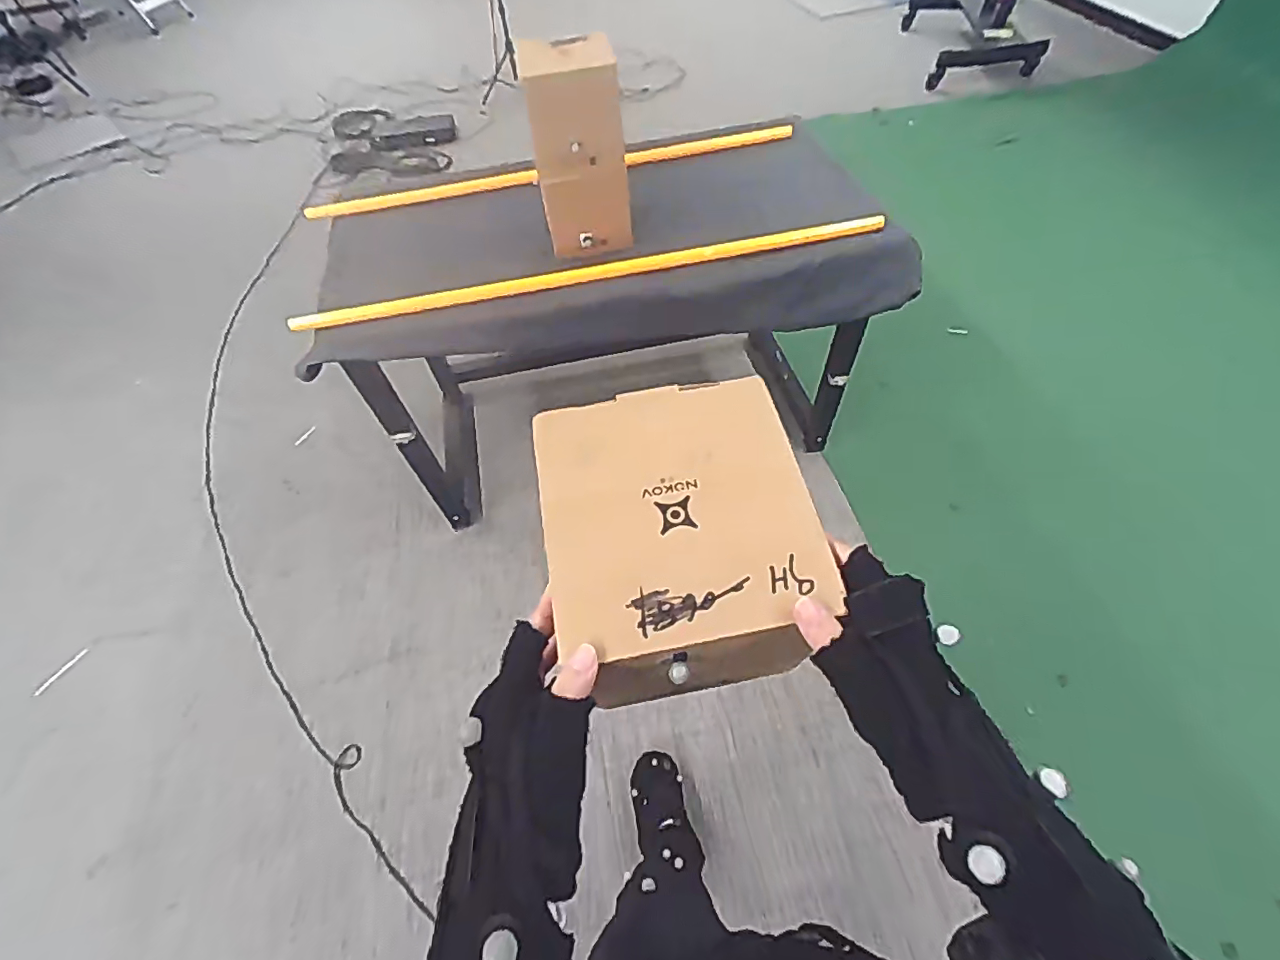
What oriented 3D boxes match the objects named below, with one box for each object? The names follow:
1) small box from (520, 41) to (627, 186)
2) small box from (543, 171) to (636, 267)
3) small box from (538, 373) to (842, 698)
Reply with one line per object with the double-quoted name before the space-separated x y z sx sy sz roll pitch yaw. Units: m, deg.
"small box" -0.122 -0.679 1.006 0.168 0.176 0.179 -10 55 -1
"small box" -0.110 -0.580 1.138 0.168 0.176 0.179 -14 56 -4
"small box" 0.025 0.049 0.414 0.168 0.176 0.179 -11 59 -2
